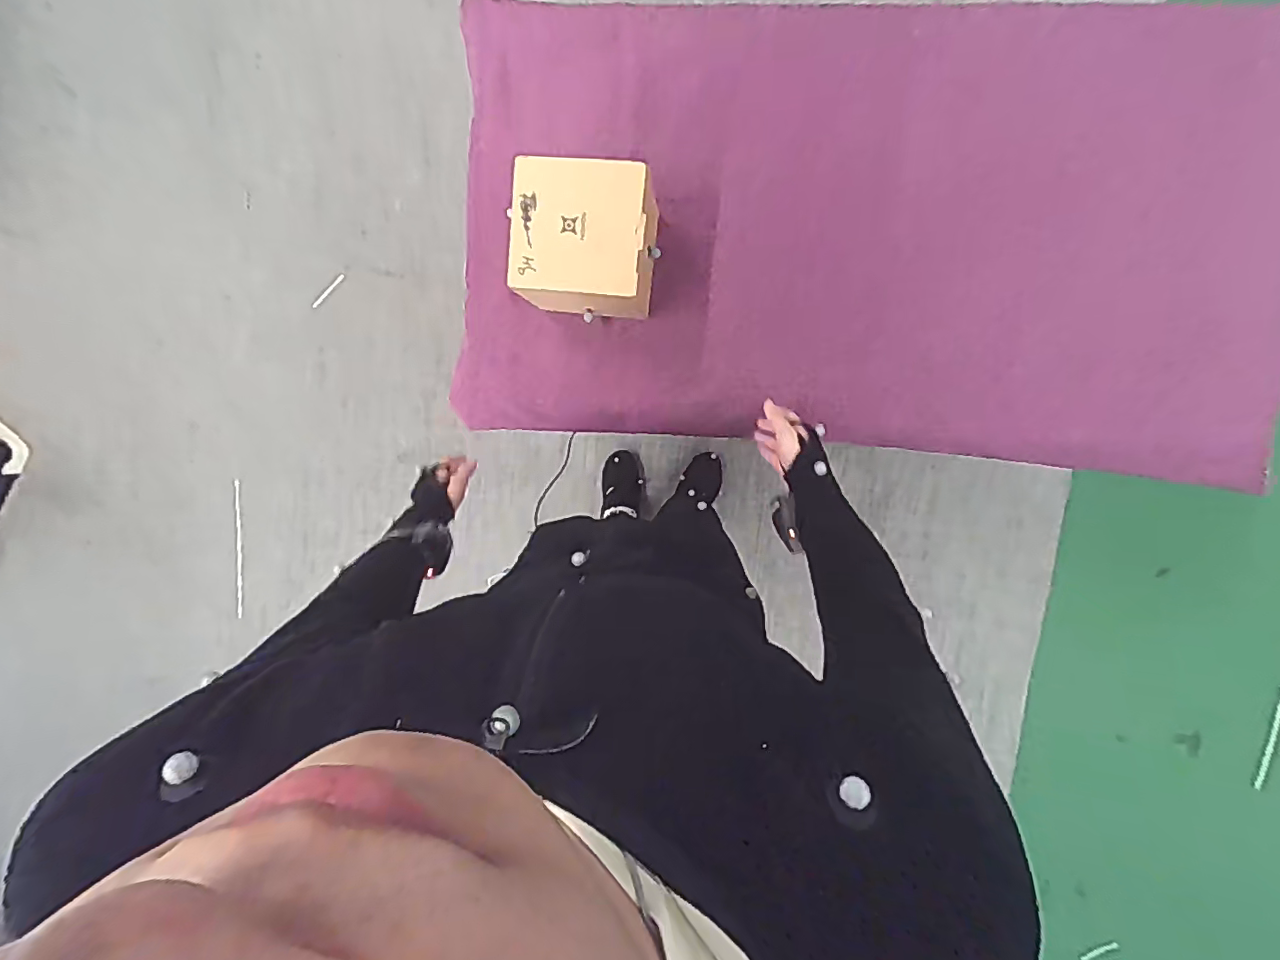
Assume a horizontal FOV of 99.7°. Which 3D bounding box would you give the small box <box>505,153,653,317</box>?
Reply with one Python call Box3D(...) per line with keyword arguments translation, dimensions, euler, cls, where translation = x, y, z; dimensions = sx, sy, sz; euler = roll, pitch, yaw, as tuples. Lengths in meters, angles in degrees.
Box3D(translation=(-0.077, -0.334, 0.769), dimensions=(0.179, 0.176, 0.168), euler=(7, 98, 4), cls="small box")
